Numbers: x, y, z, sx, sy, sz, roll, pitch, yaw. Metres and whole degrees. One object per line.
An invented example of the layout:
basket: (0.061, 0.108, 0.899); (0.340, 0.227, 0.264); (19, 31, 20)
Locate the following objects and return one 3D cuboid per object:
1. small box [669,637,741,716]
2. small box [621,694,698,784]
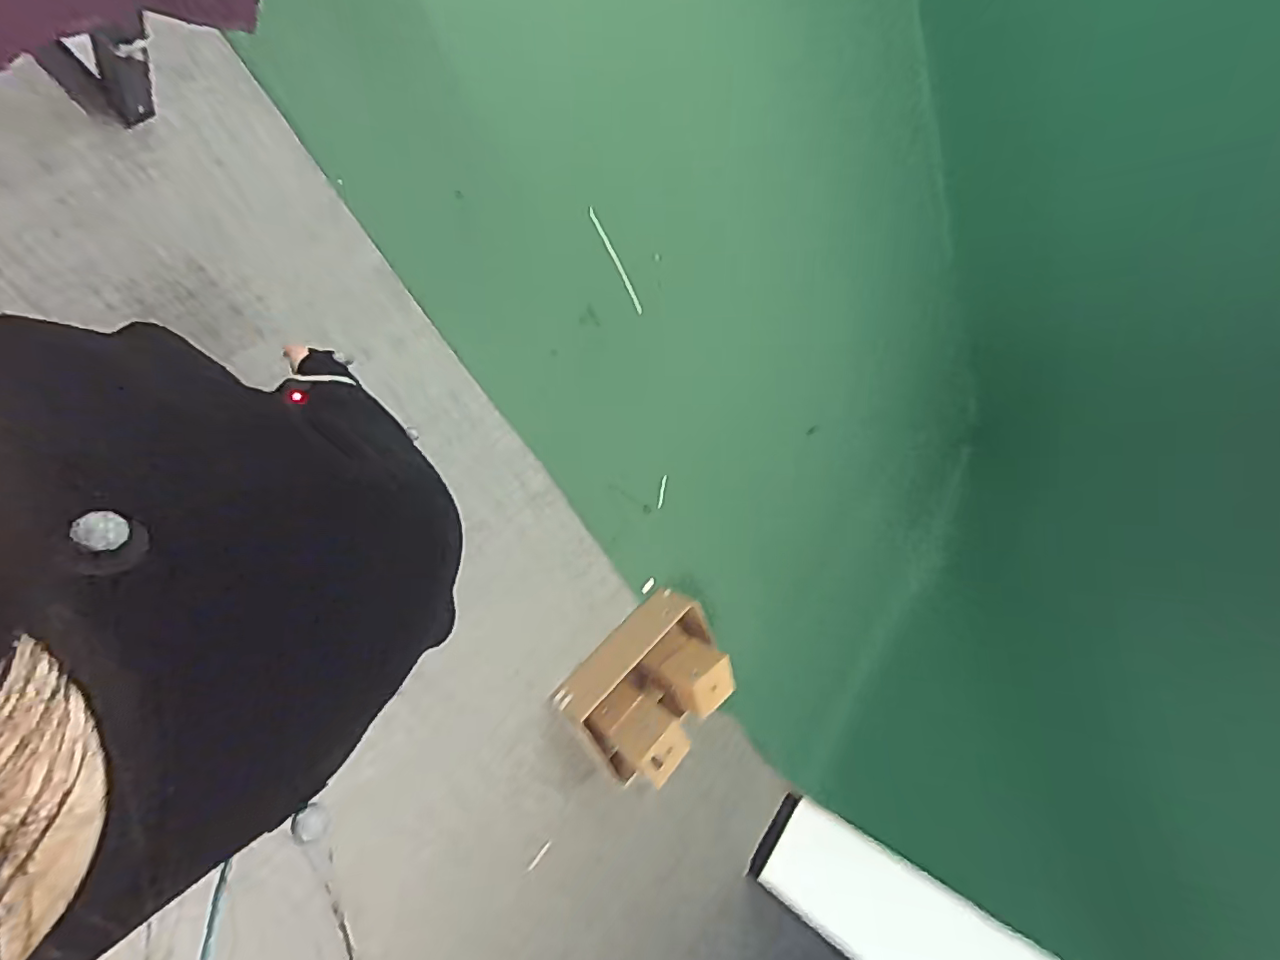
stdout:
small box: (0.233, 0.694, 1.939); (0.179, 0.176, 0.168); (-28, 115, -30)
small box: (0.059, 0.868, 1.824); (0.179, 0.176, 0.168); (-42, 121, -28)
